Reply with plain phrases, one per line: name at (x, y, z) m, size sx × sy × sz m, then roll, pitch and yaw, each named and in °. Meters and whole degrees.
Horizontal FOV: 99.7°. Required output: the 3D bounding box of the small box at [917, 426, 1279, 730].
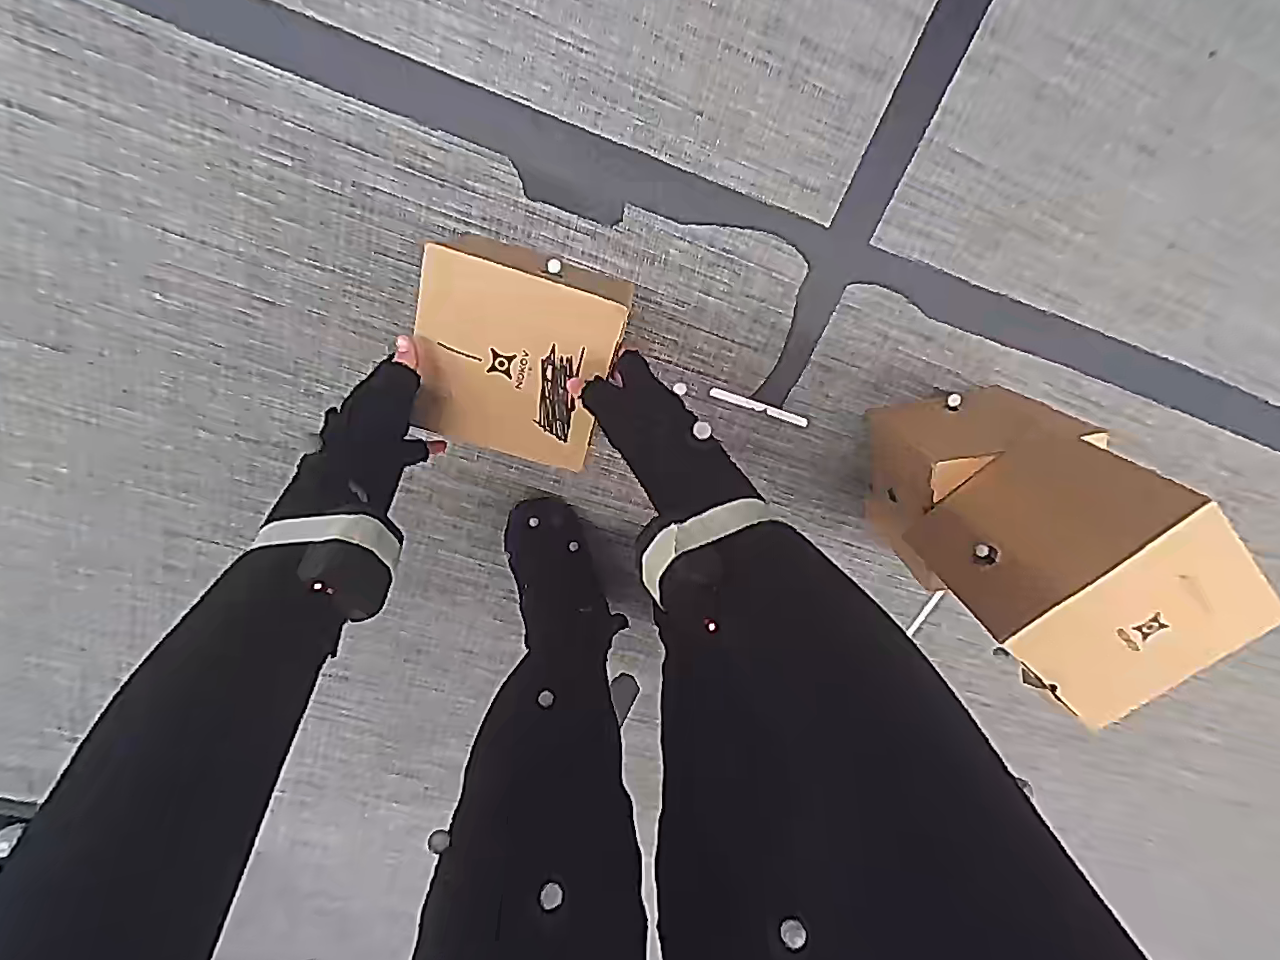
small box at (0.393, 0.083, 0.500) m, size 0.168 × 0.176 × 0.179 m, roll 39°, pitch 108°, yaw -20°

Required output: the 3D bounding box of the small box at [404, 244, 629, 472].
small box at (-0.114, -0.132, 0.550) m, size 0.179 × 0.176 × 0.168 m, roll 15°, pitch 115°, yaw -5°

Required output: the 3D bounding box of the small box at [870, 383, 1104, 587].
small box at (0.388, -0.002, 0.643) m, size 0.179 × 0.176 × 0.168 m, roll -13°, pitch 115°, yaw 4°
